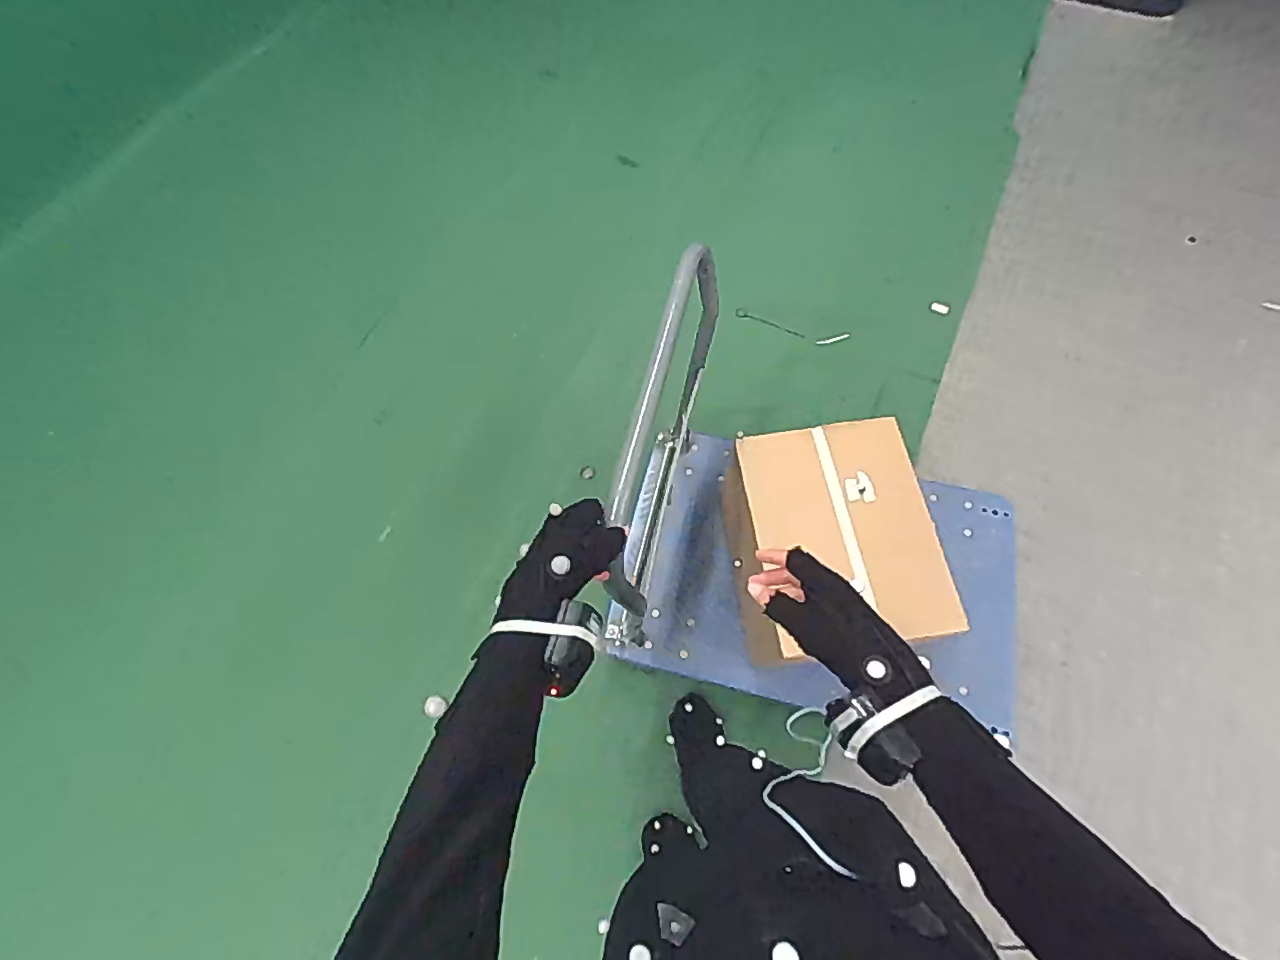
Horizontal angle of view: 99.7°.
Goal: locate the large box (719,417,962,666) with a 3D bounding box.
[{"bbox_3d":[0.362,0.138,1.104,0.320,0.320,0.408,-8,67,-2],"label":"large box"}]
